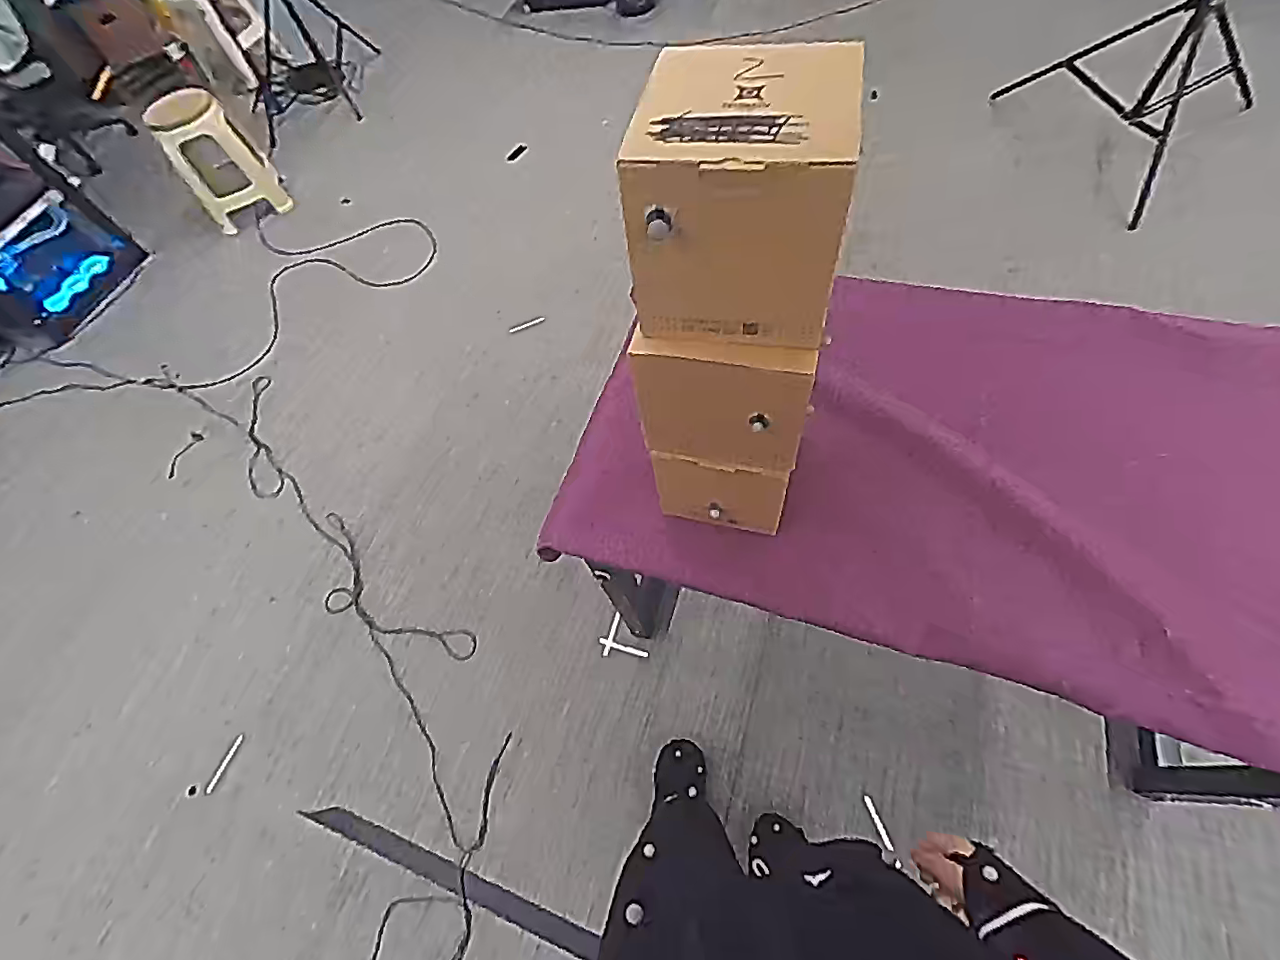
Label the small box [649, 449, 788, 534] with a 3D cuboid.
[{"bbox_3d":[0.119,-0.049,0.745,0.168,0.176,0.179,11,63,14],"label":"small box"}]

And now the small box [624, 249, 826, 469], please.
[{"bbox_3d":[0.098,-0.129,0.606,0.179,0.176,0.168,9,61,14],"label":"small box"}]
